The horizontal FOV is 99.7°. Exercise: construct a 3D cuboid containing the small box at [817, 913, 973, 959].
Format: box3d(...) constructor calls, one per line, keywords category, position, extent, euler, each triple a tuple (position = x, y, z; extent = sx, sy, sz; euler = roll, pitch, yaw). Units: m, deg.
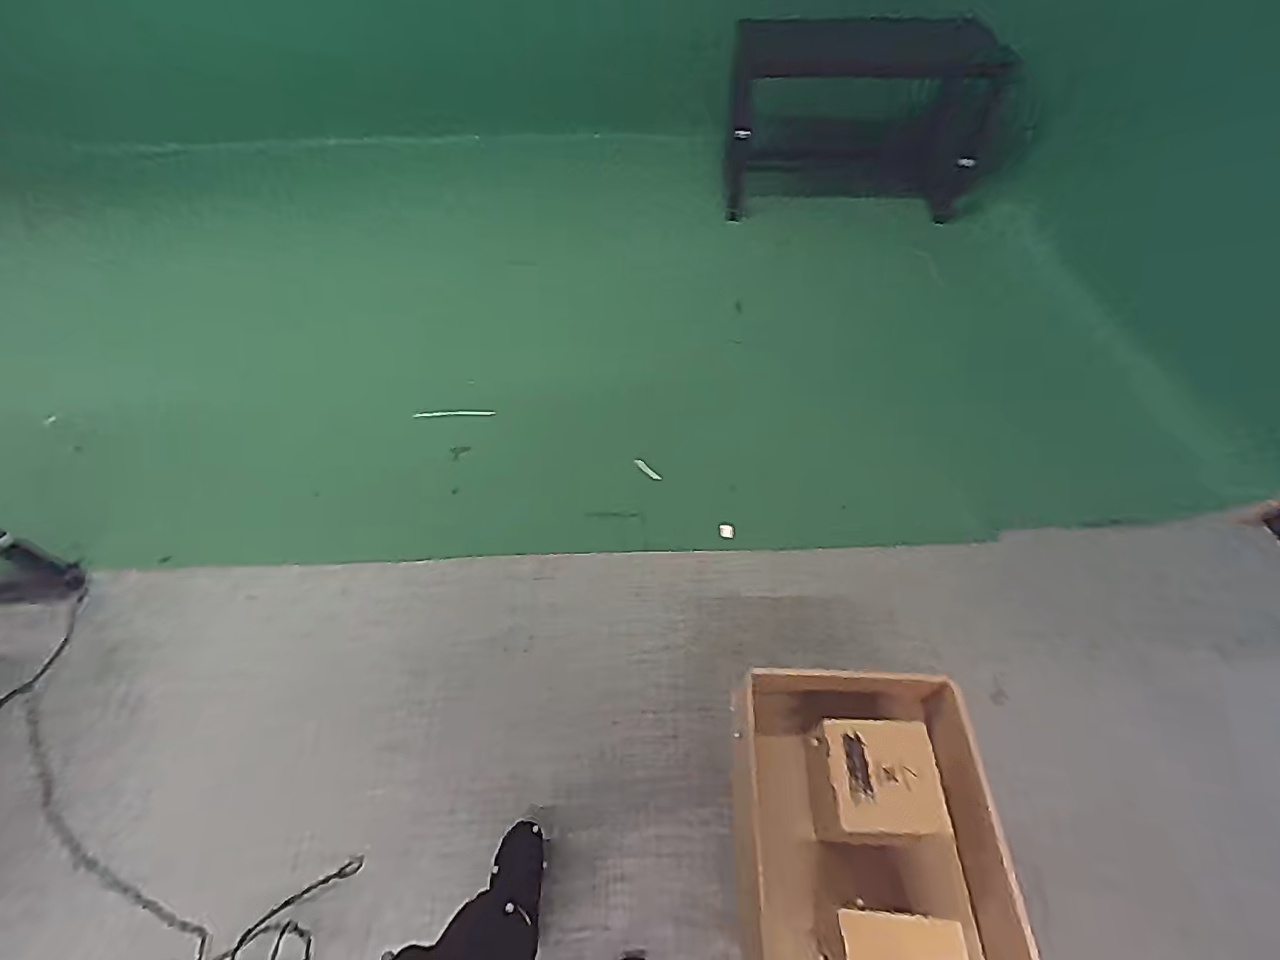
box3d(category="small box", position=(0.372, 0.747, 0.788), extent=(0.179, 0.176, 0.168), euler=(2, 54, 4))
